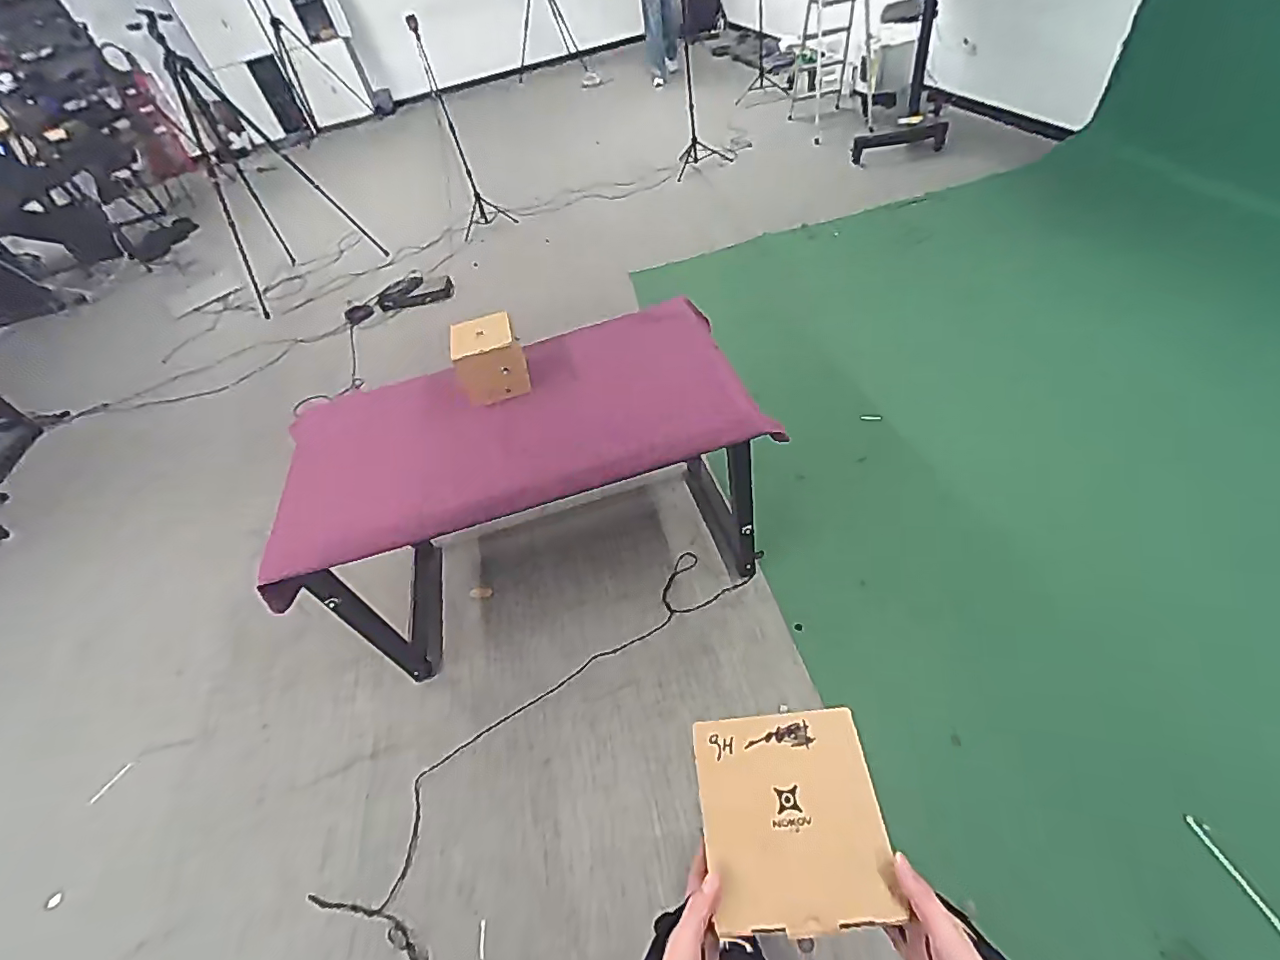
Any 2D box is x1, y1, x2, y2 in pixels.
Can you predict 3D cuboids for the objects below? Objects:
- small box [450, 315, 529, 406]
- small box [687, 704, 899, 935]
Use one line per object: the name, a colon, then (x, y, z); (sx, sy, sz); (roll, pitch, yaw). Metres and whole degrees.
small box: (-0.419, -0.327, 1.512); (0.168, 0.176, 0.179); (-17, 47, -3)
small box: (0.146, 0.357, 0.570); (0.168, 0.176, 0.179); (-8, 51, 4)
